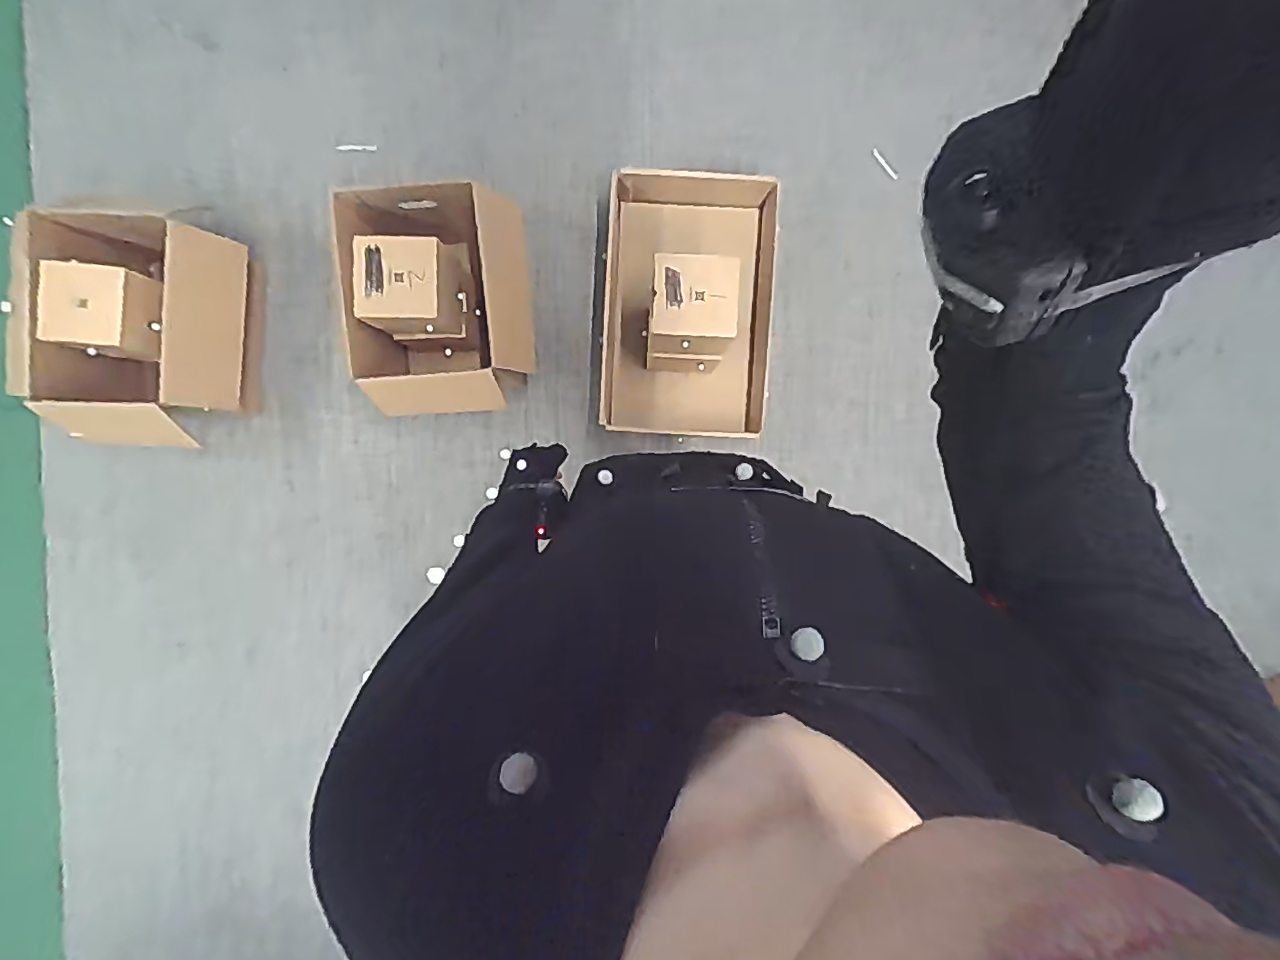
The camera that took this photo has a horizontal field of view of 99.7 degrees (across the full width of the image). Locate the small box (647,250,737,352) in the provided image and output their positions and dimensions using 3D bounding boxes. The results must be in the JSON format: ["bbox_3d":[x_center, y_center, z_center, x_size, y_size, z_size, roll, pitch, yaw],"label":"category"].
[{"bbox_3d":[0.106,-0.379,1.171,0.179,0.176,0.168,2,90,-2],"label":"small box"}]

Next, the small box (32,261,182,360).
[{"bbox_3d":[-1.163,-0.365,1.194,0.179,0.176,0.168,4,91,-1],"label":"small box"}]
